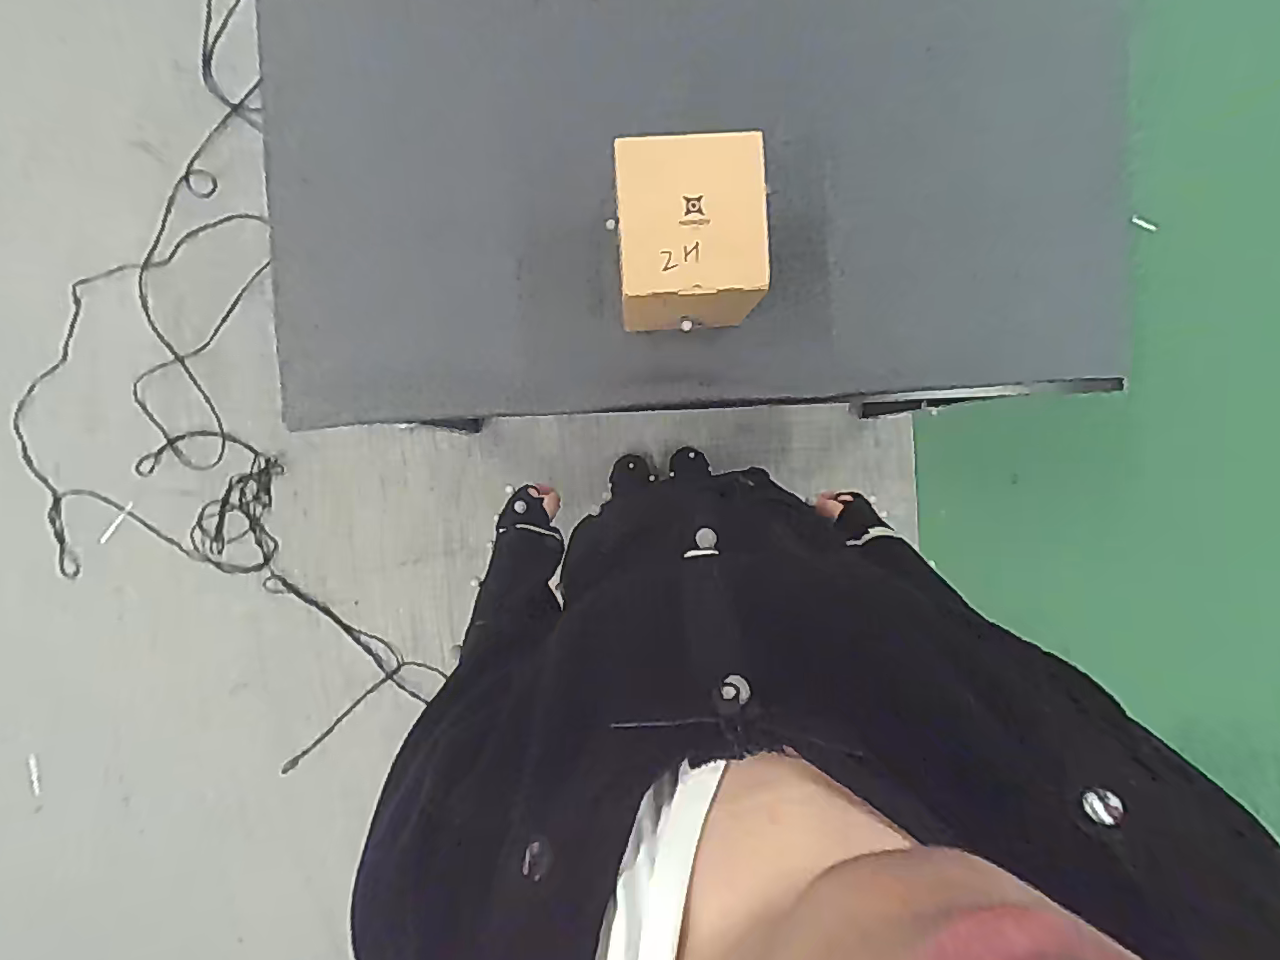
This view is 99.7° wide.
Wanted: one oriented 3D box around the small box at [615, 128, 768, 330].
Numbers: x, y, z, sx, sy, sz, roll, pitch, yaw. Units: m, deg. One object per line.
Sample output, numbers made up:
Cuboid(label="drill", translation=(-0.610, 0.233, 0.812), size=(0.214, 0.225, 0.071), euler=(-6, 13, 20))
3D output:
Cuboid(label="small box", translation=(0.055, -0.299, 0.675), size=(0.168, 0.176, 0.179), euler=(-4, 92, -1))
